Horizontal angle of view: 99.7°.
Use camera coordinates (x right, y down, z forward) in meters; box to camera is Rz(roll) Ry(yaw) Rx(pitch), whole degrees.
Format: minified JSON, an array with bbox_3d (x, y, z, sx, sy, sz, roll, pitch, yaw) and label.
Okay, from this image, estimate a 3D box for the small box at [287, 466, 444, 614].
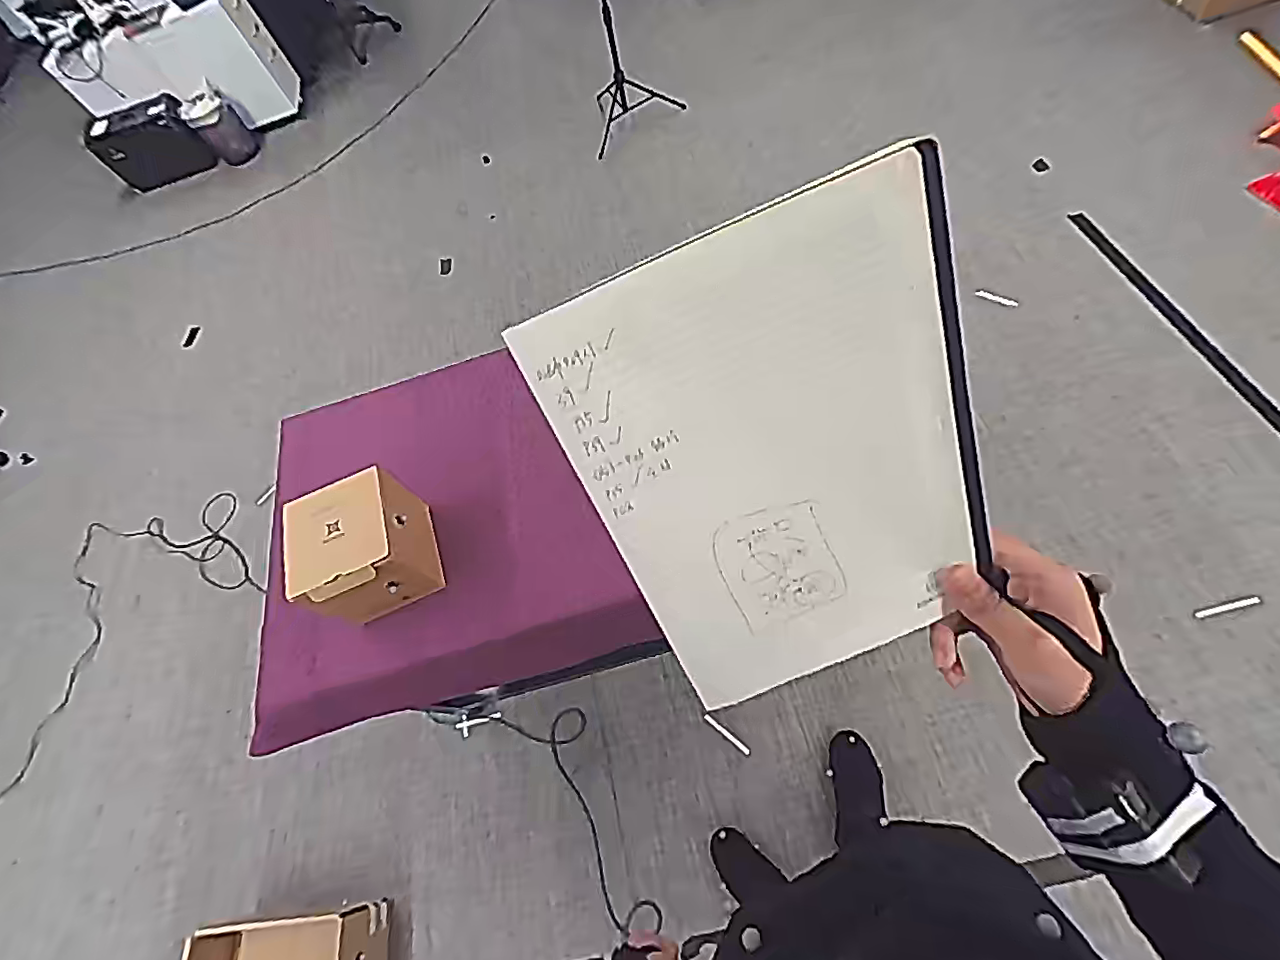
[{"bbox_3d":[-0.452,0.111,0.907,0.168,0.176,0.179,-23,61,-1],"label":"small box"}]
